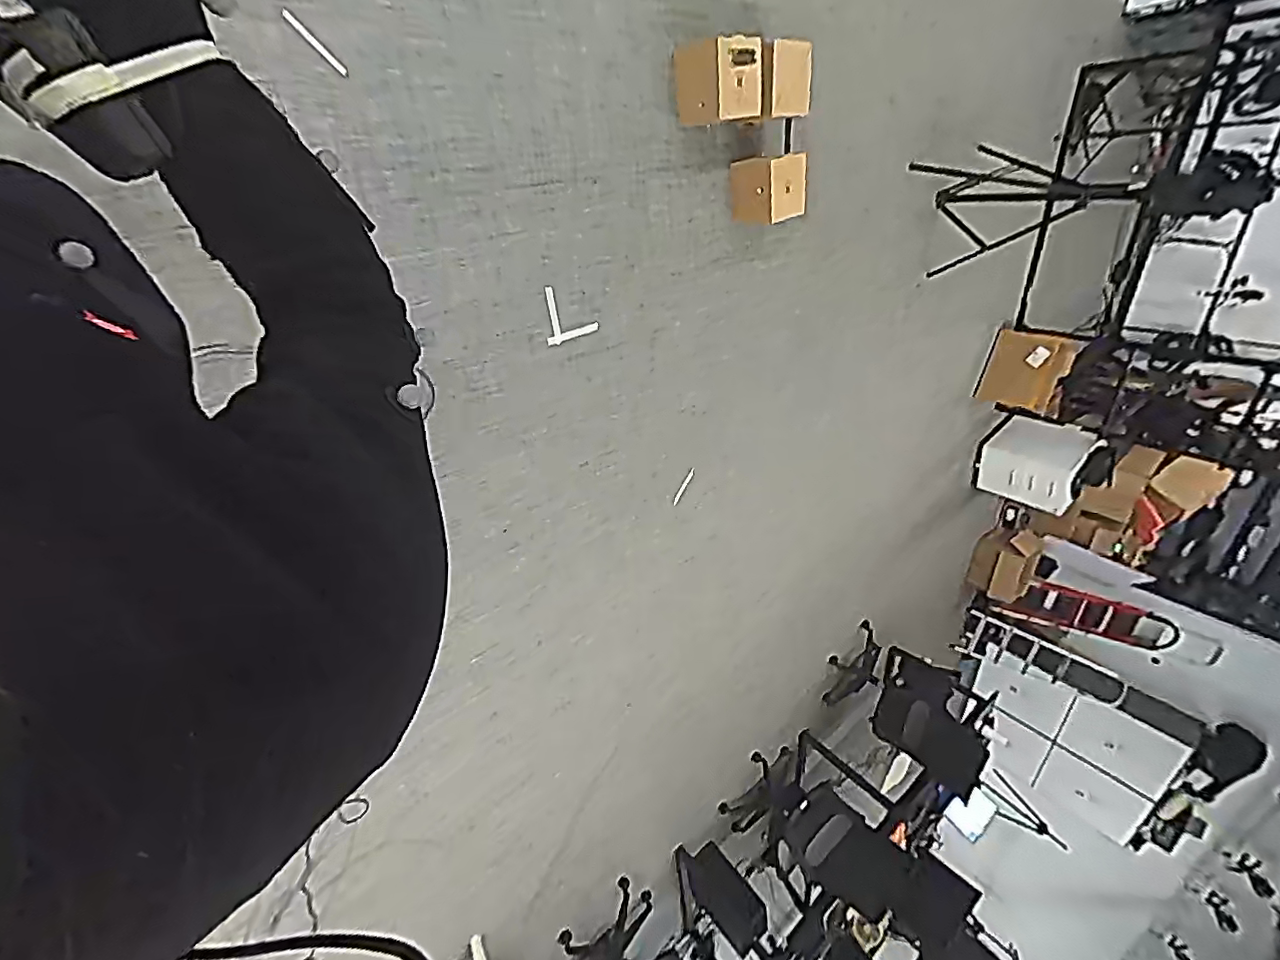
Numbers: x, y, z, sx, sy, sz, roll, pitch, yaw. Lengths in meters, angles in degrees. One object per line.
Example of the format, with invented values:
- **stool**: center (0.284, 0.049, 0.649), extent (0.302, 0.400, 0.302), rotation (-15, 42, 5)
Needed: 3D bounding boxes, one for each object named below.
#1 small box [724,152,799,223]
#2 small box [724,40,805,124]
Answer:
- **small box**: center (0.388, -0.937, 1.735), extent (0.168, 0.176, 0.179), rotation (-29, 127, -28)
- **small box**: center (0.365, -1.166, 1.593), extent (0.168, 0.176, 0.179), rotation (-25, 126, -31)
